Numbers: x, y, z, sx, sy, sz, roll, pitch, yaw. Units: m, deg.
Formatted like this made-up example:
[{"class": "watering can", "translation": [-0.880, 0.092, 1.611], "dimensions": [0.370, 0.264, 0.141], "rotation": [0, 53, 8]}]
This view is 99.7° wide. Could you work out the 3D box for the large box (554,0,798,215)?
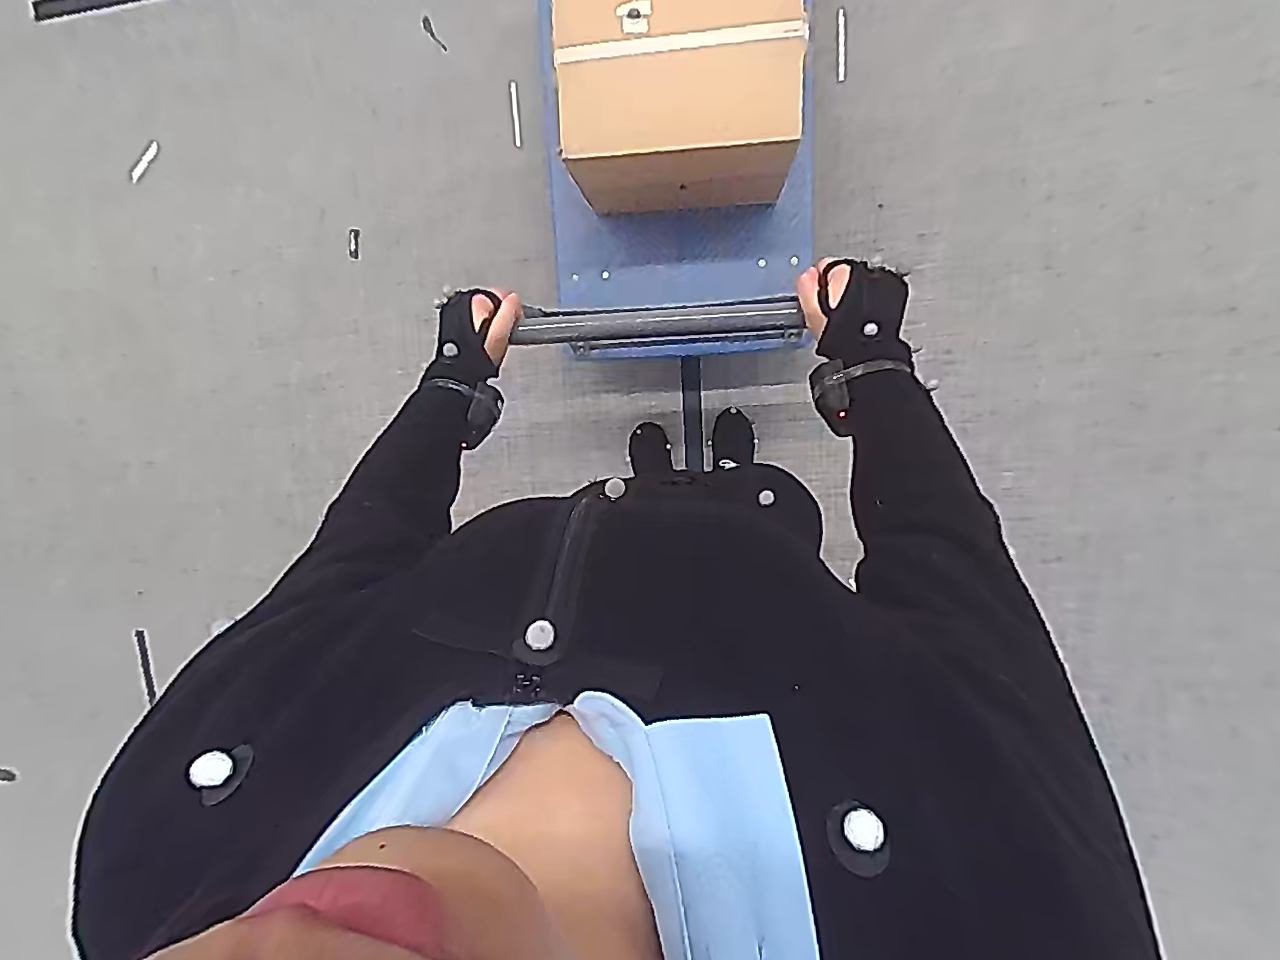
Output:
[{"class": "large box", "translation": [0.078, -0.731, 1.041], "dimensions": [0.408, 0.320, 0.320], "rotation": [-1, 99, 8]}]
